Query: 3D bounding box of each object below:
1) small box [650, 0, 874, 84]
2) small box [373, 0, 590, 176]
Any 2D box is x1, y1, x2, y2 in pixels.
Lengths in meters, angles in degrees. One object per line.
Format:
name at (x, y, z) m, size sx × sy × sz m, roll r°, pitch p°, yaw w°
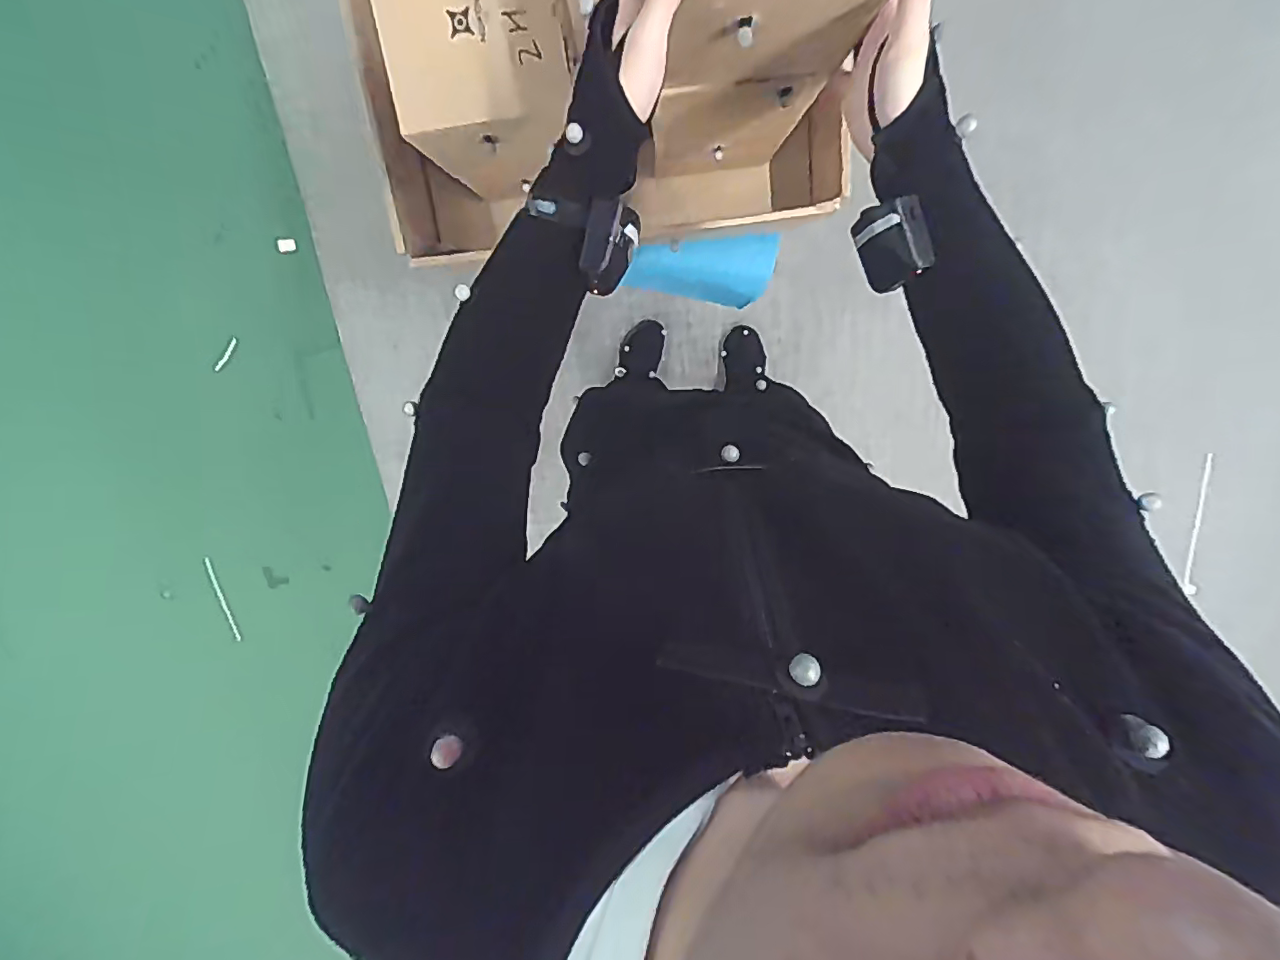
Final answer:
small box at (0.092, -0.431, 0.411) m, size 0.179 × 0.176 × 0.168 m, roll -2°, pitch 106°, yaw 4°
small box at (-0.157, -0.445, 0.581) m, size 0.179 × 0.176 × 0.168 m, roll -7°, pitch 106°, yaw 1°
